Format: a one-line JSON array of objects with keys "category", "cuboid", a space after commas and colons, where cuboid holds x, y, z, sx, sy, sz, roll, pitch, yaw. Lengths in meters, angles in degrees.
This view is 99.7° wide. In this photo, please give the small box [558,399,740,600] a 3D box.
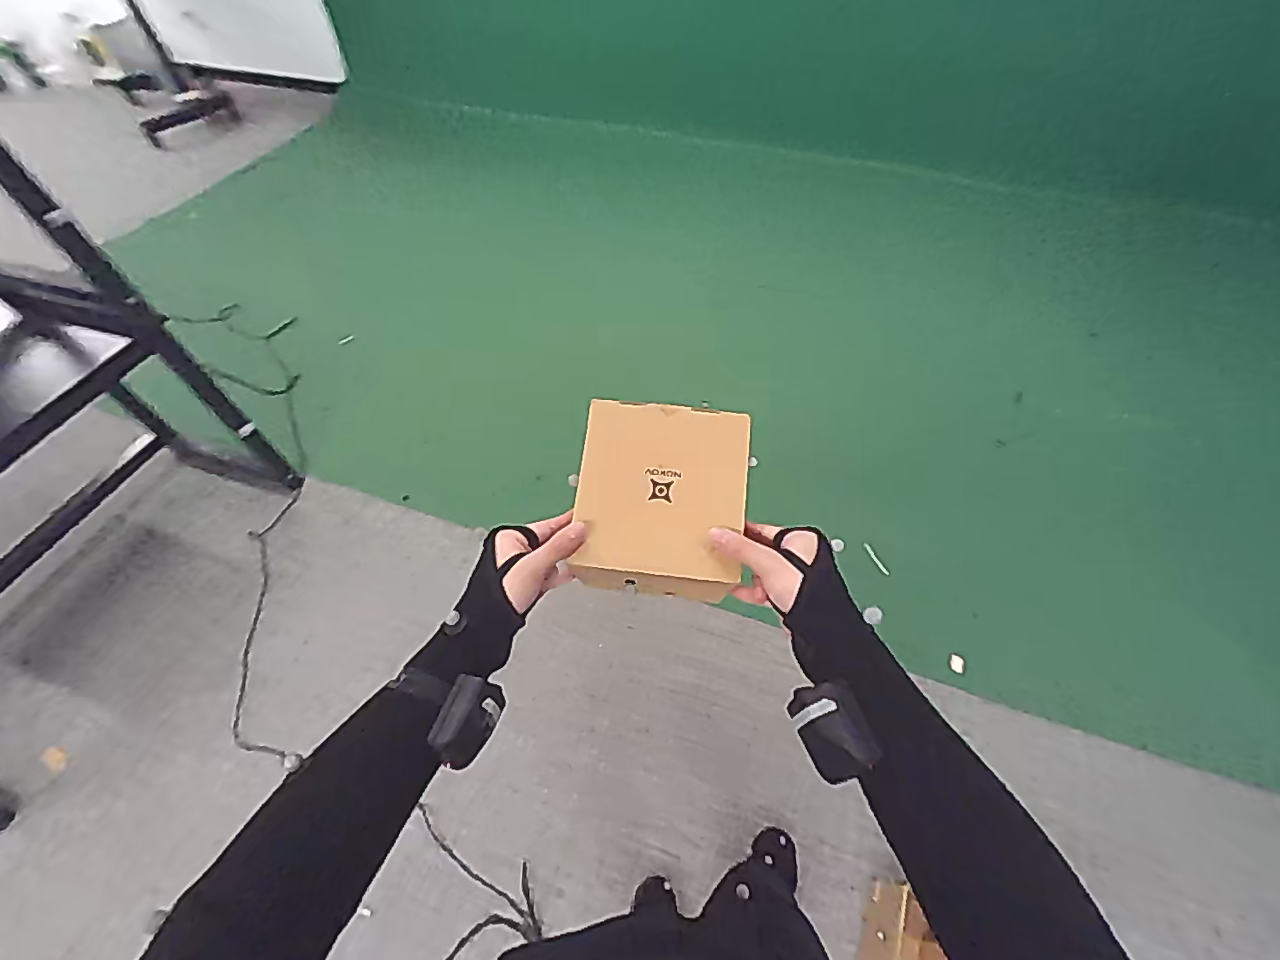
[{"category": "small box", "cuboid": [0.015, 0.031, 0.599, 0.168, 0.176, 0.179, 5, 70, 3]}]
